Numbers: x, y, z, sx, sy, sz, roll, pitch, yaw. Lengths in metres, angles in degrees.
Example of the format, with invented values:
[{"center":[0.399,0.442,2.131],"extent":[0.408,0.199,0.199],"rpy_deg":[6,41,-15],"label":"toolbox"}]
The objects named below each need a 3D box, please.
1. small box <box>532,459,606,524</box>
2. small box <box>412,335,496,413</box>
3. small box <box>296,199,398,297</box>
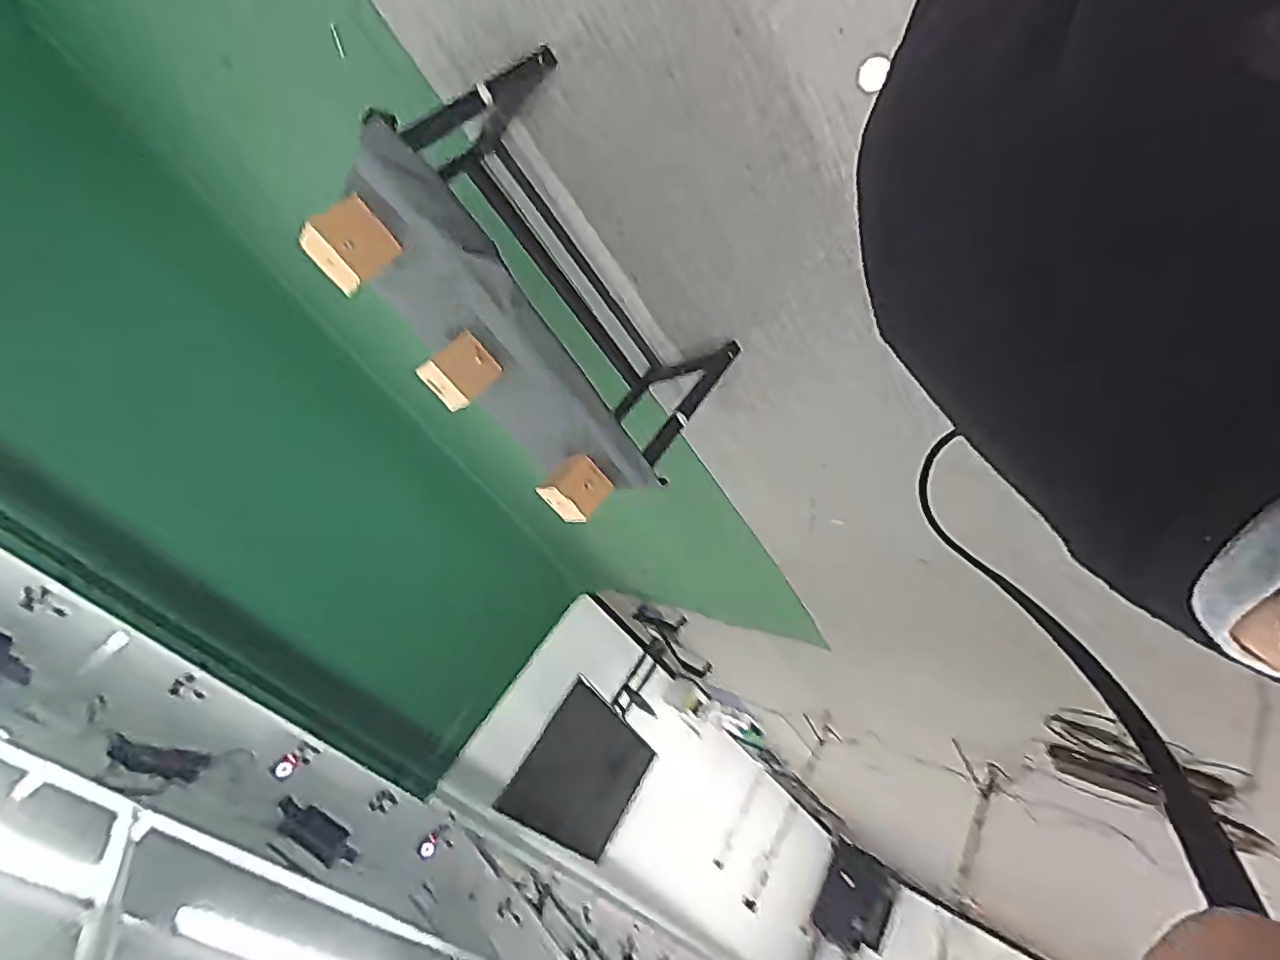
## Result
[{"center":[-0.248,0.041,1.940],"extent":[0.179,0.176,0.168],"rpy_deg":[-7,129,53],"label":"small box"},{"center":[-0.601,-0.344,1.761],"extent":[0.179,0.176,0.168],"rpy_deg":[-5,132,51],"label":"small box"},{"center":[-0.831,-0.660,1.544],"extent":[0.168,0.176,0.179],"rpy_deg":[-2,132,50],"label":"small box"}]
